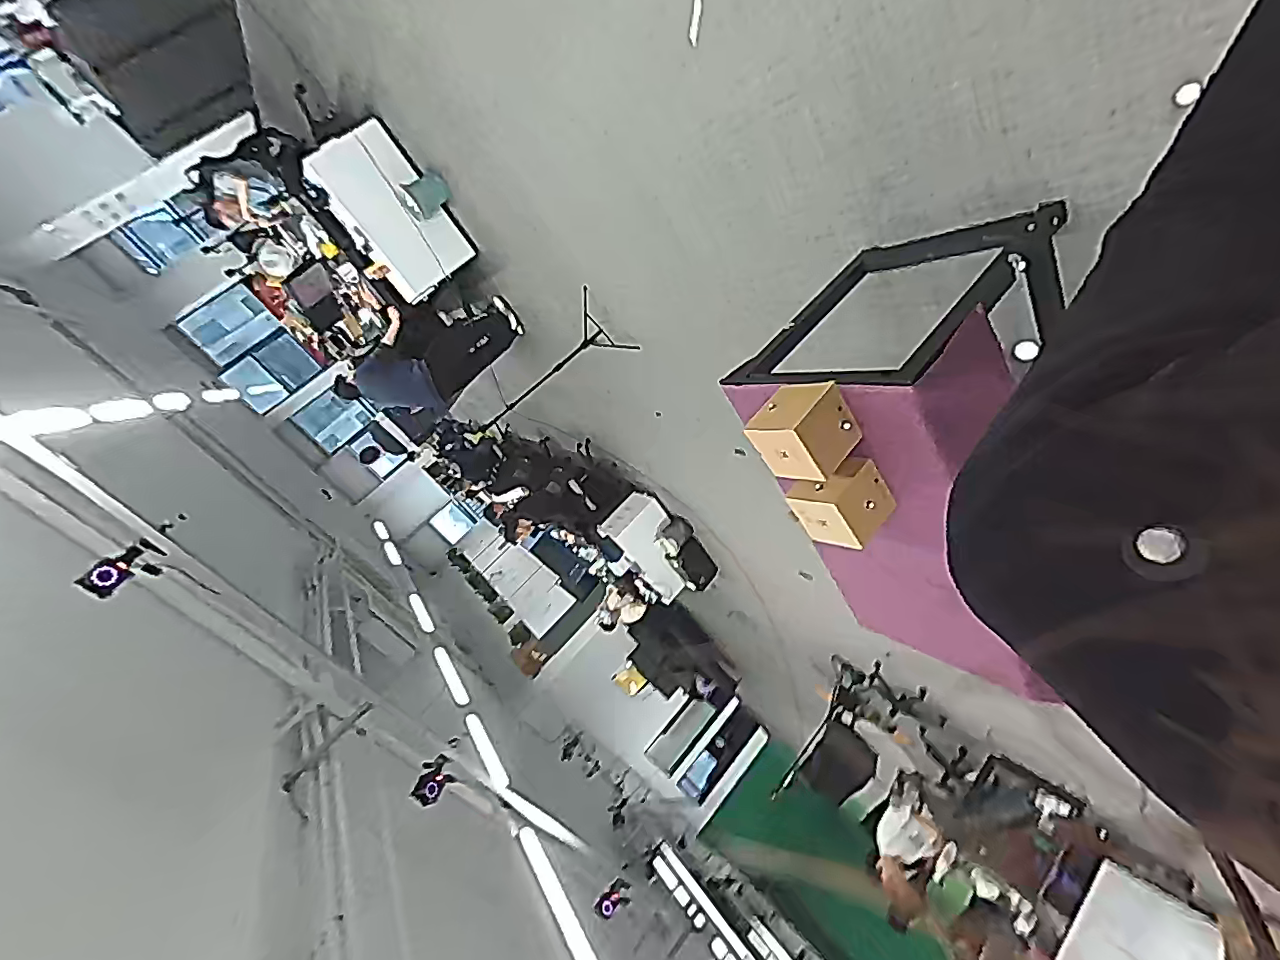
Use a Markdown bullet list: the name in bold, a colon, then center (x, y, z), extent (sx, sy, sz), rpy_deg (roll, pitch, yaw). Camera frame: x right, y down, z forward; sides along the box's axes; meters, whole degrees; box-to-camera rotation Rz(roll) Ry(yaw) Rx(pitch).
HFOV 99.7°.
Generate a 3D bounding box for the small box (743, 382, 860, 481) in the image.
- **small box**: center (0.394, -0.122, 1.316), extent (0.168, 0.176, 0.179), rpy_deg (50, 163, -24)

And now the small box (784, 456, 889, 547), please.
- **small box**: center (0.524, 0.048, 1.422), extent (0.168, 0.176, 0.179), rpy_deg (51, 162, -22)
